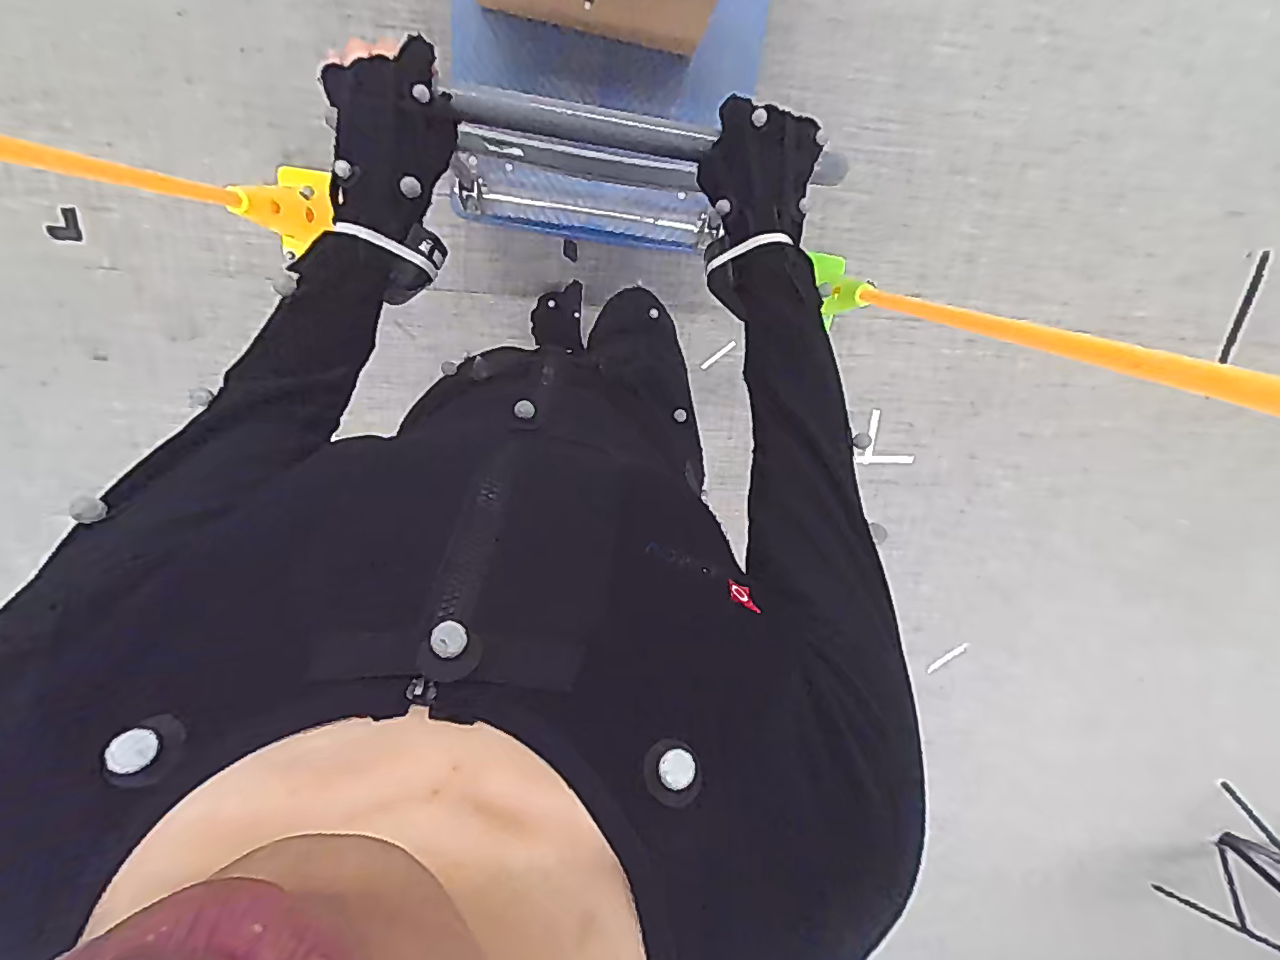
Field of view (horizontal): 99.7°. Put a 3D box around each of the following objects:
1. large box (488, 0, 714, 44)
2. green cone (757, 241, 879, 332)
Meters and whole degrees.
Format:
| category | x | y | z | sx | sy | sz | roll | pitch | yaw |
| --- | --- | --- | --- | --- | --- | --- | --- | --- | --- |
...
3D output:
| category | x | y | z | sx | sy | sz | roll | pitch | yaw |
| --- | --- | --- | --- | --- | --- | --- | --- | --- | --- |
| large box | -0.059 | -0.940 | 0.828 | 0.408 | 0.320 | 0.320 | 8 | 110 | -7 |
| green cone | 0.424 | -0.428 | 1.215 | 0.202 | 0.368 | 0.200 | 6 | 110 | -8 |
